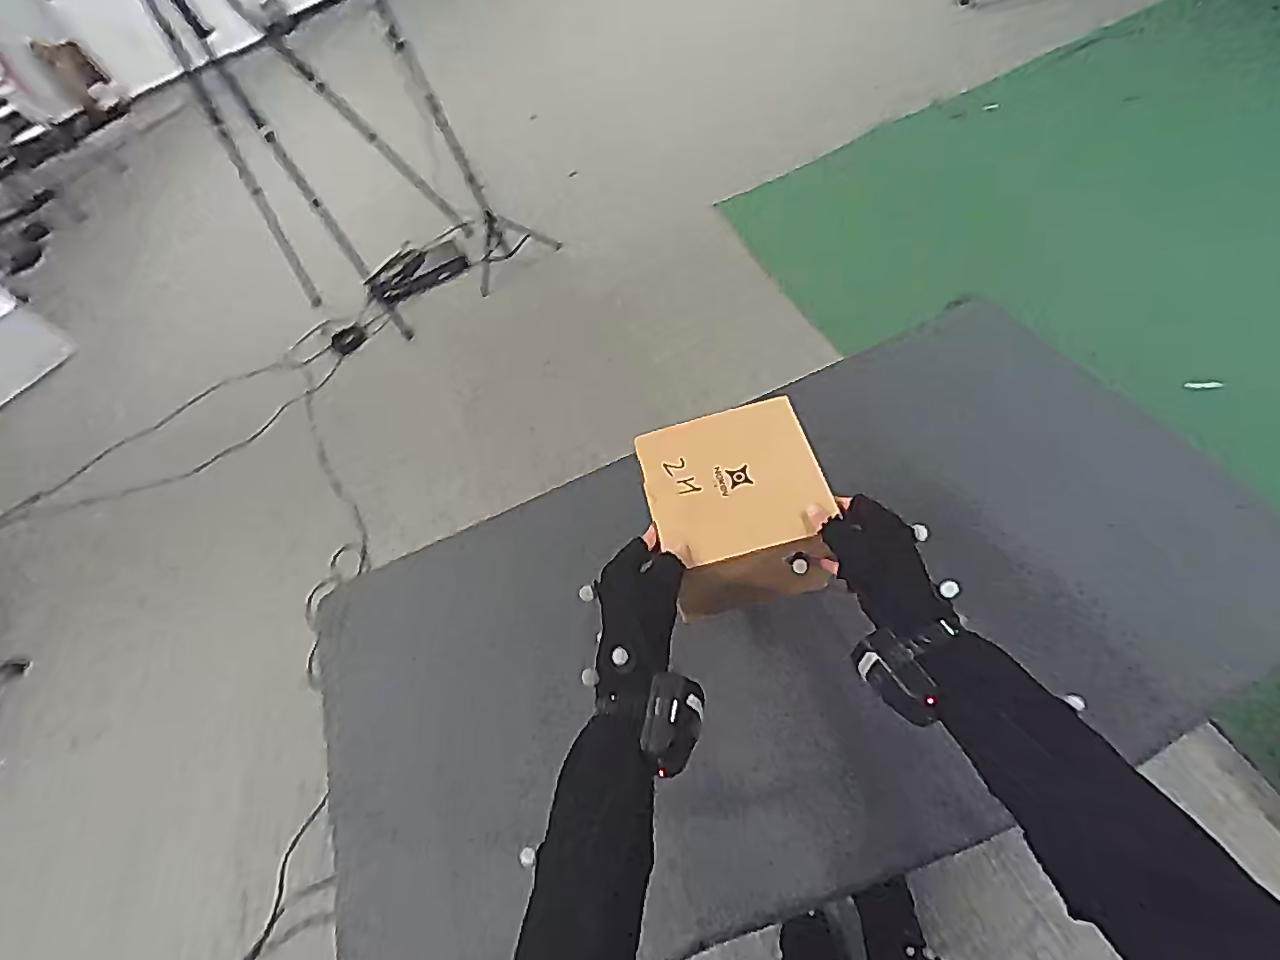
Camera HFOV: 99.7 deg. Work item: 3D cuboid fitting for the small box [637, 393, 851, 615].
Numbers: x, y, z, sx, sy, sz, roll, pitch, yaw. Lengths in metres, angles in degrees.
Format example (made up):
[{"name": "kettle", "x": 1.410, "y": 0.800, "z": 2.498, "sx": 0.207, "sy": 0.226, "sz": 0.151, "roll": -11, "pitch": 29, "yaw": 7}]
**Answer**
[{"name": "small box", "x": 0.109, "y": 0.035, "z": 0.603, "sx": 0.179, "sy": 0.176, "sz": 0.168, "roll": -16, "pitch": 59, "yaw": 4}]
